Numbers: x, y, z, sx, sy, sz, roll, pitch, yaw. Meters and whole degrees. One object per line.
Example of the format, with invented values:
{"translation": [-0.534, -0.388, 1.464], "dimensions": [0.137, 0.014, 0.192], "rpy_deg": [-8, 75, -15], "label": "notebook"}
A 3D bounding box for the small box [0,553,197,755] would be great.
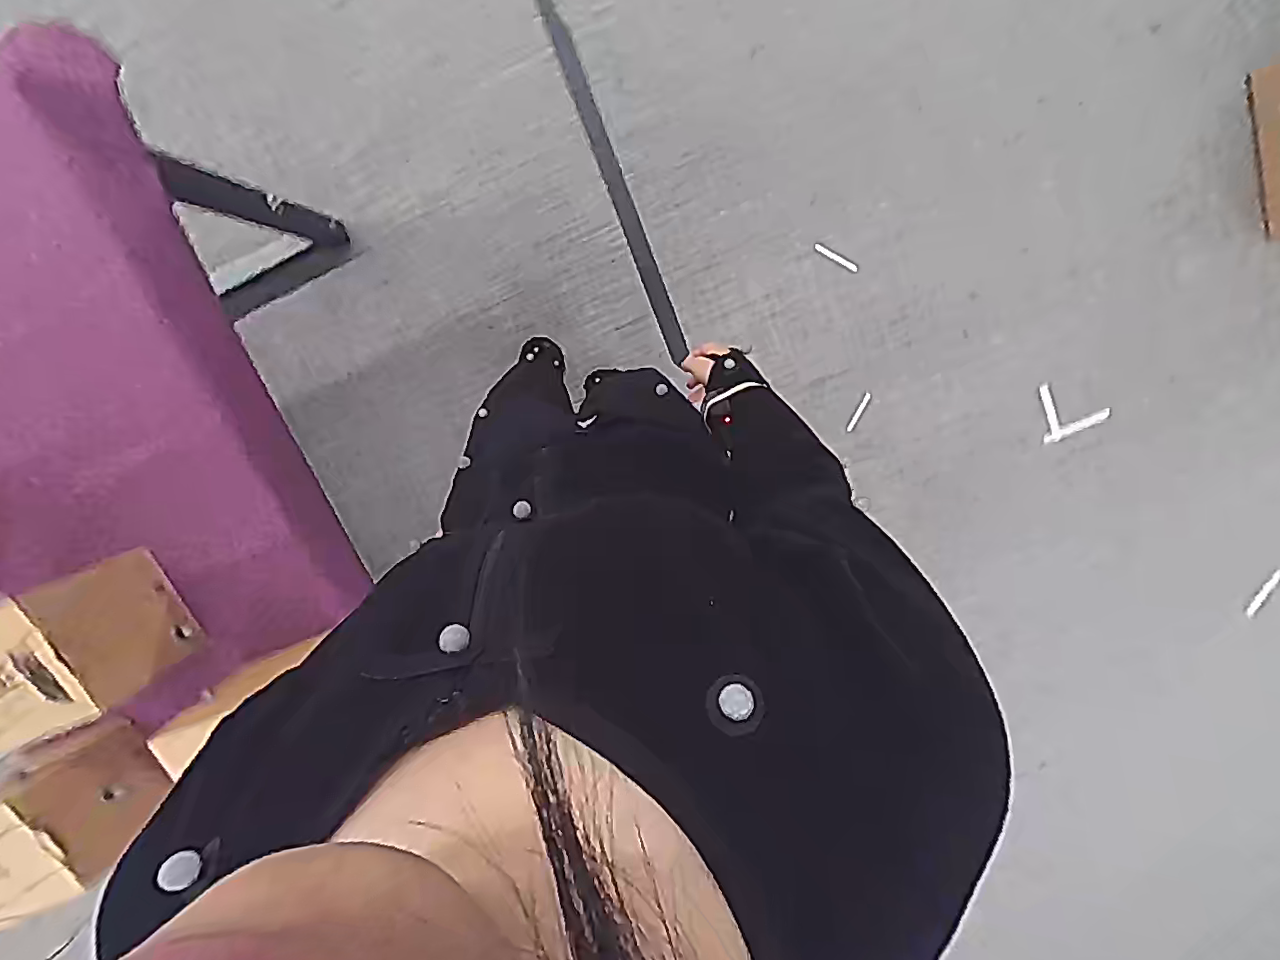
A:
{"translation": [-0.753, 0.220, 0.724], "dimensions": [0.179, 0.176, 0.168], "rpy_deg": [-22, 103, 7], "label": "small box"}

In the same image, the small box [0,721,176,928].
{"translation": [-0.842, 0.491, 0.791], "dimensions": [0.179, 0.176, 0.168], "rpy_deg": [-23, 102, 4], "label": "small box"}
